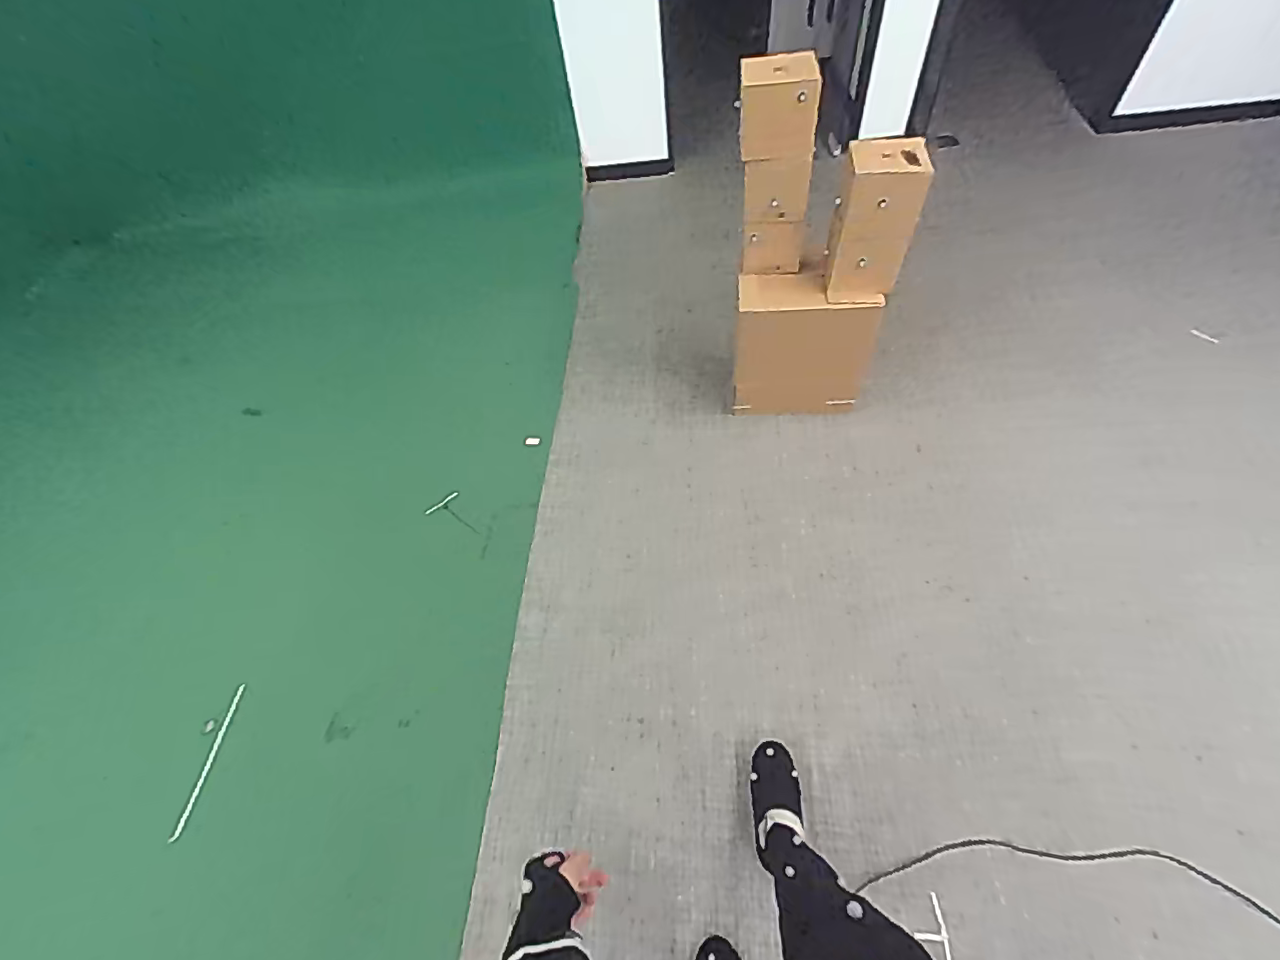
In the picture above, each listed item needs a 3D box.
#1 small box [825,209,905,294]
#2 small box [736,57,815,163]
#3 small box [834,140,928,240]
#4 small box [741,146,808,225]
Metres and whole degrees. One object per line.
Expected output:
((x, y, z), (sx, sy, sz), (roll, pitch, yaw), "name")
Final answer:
((0.617, -0.639, 1.509), (0.179, 0.176, 0.168), (1, 58, 10), "small box")
((0.329, -0.912, 1.343), (0.179, 0.176, 0.168), (-1, 55, 8), "small box")
((0.603, -0.732, 1.375), (0.179, 0.176, 0.168), (2, 56, 9), "small box")
((0.364, -0.822, 1.475), (0.168, 0.176, 0.179), (3, 56, 12), "small box")
